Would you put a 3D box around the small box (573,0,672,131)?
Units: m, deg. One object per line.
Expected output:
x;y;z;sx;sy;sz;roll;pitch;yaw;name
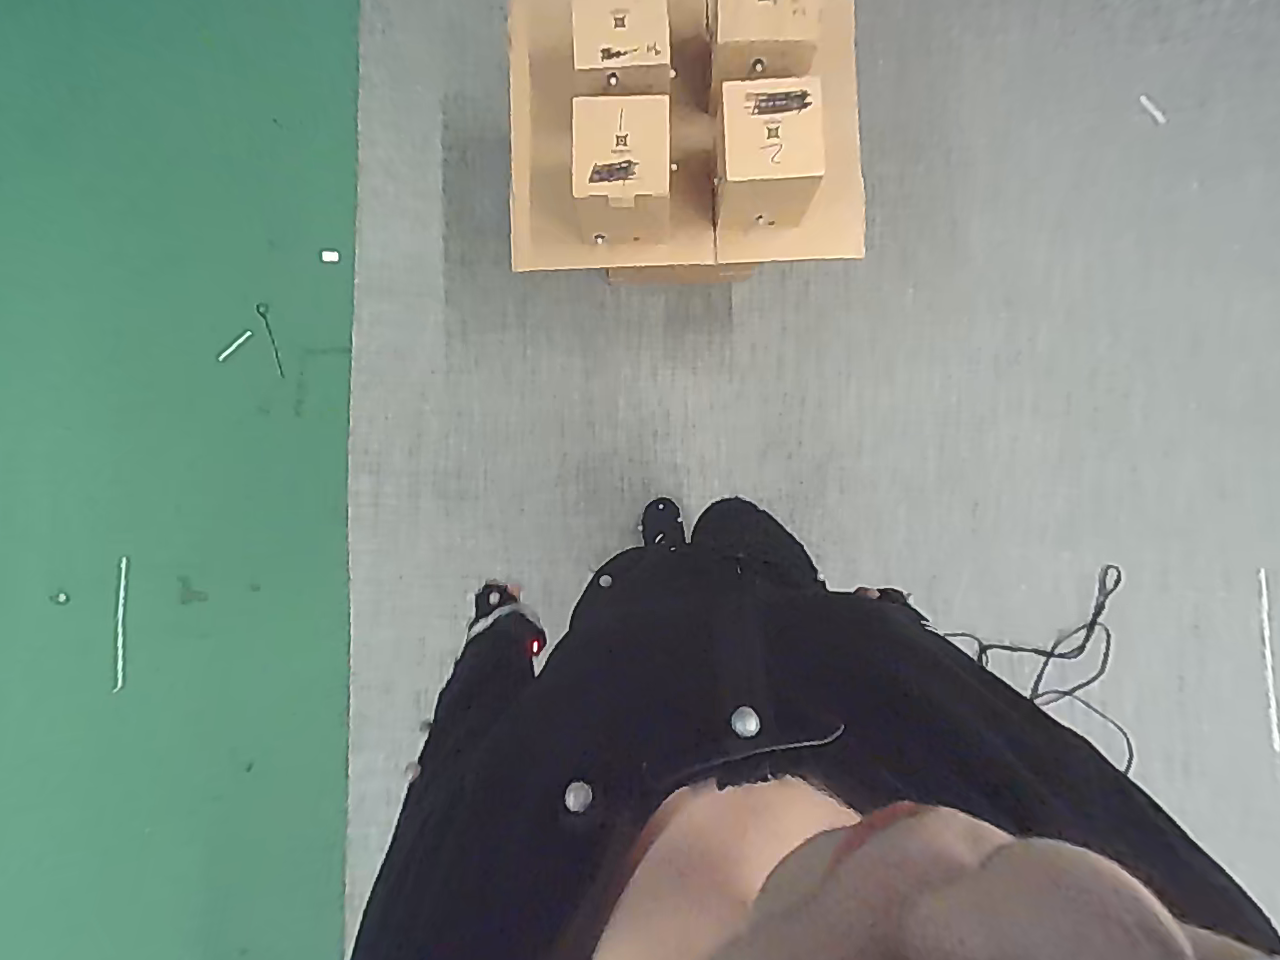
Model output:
-0.028;-0.784;0.991;0.168;0.176;0.179;-3;86;3;small box
